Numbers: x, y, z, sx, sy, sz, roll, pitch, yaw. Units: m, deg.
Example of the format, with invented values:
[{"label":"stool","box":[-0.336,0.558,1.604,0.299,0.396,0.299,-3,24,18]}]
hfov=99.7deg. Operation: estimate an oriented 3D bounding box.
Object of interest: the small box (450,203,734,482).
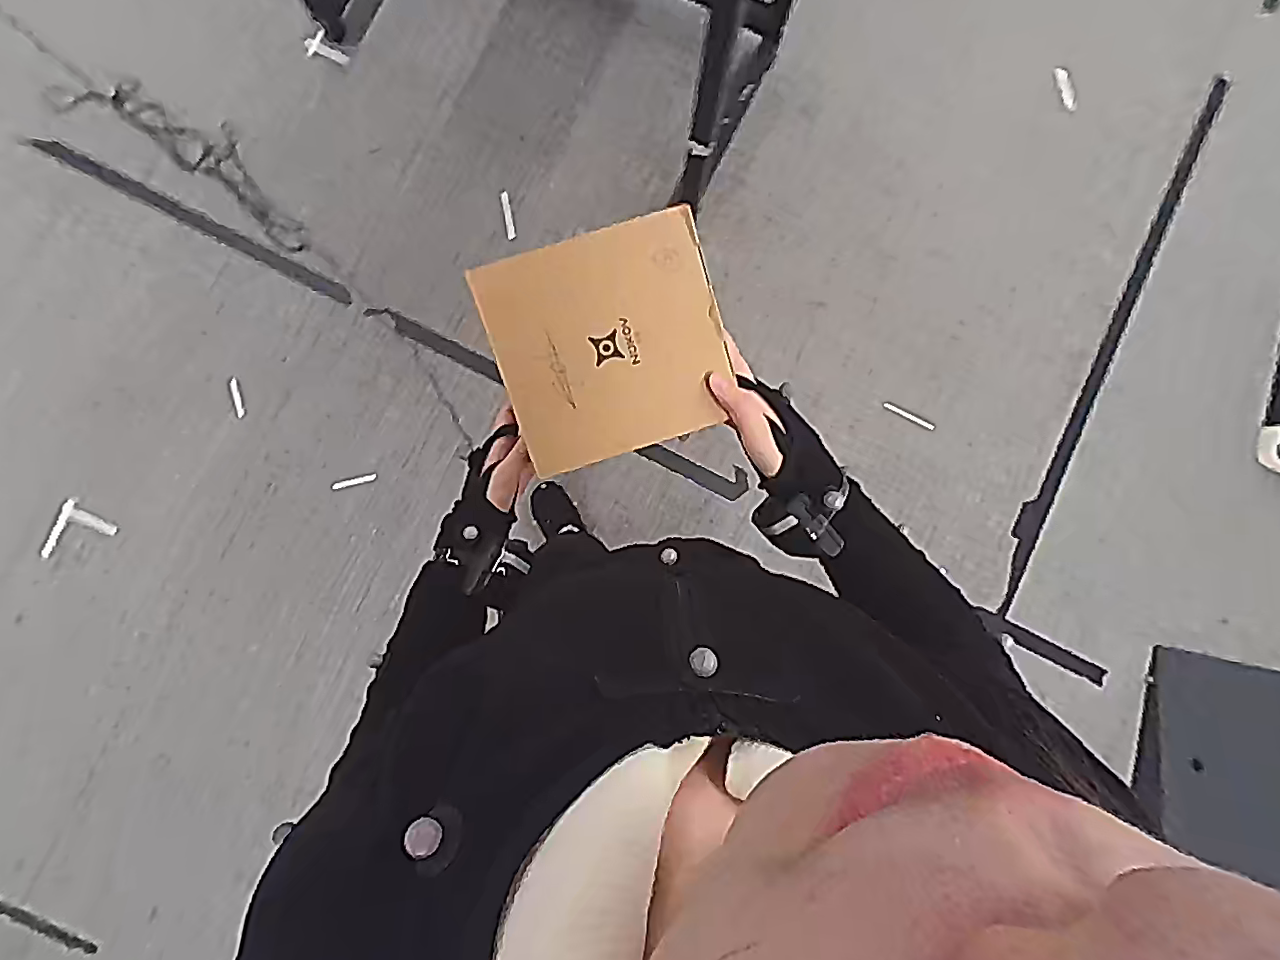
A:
[{"label":"small box","box":[-0.039,-0.114,0.477,0.179,0.176,0.168,-18,101,-1]}]
